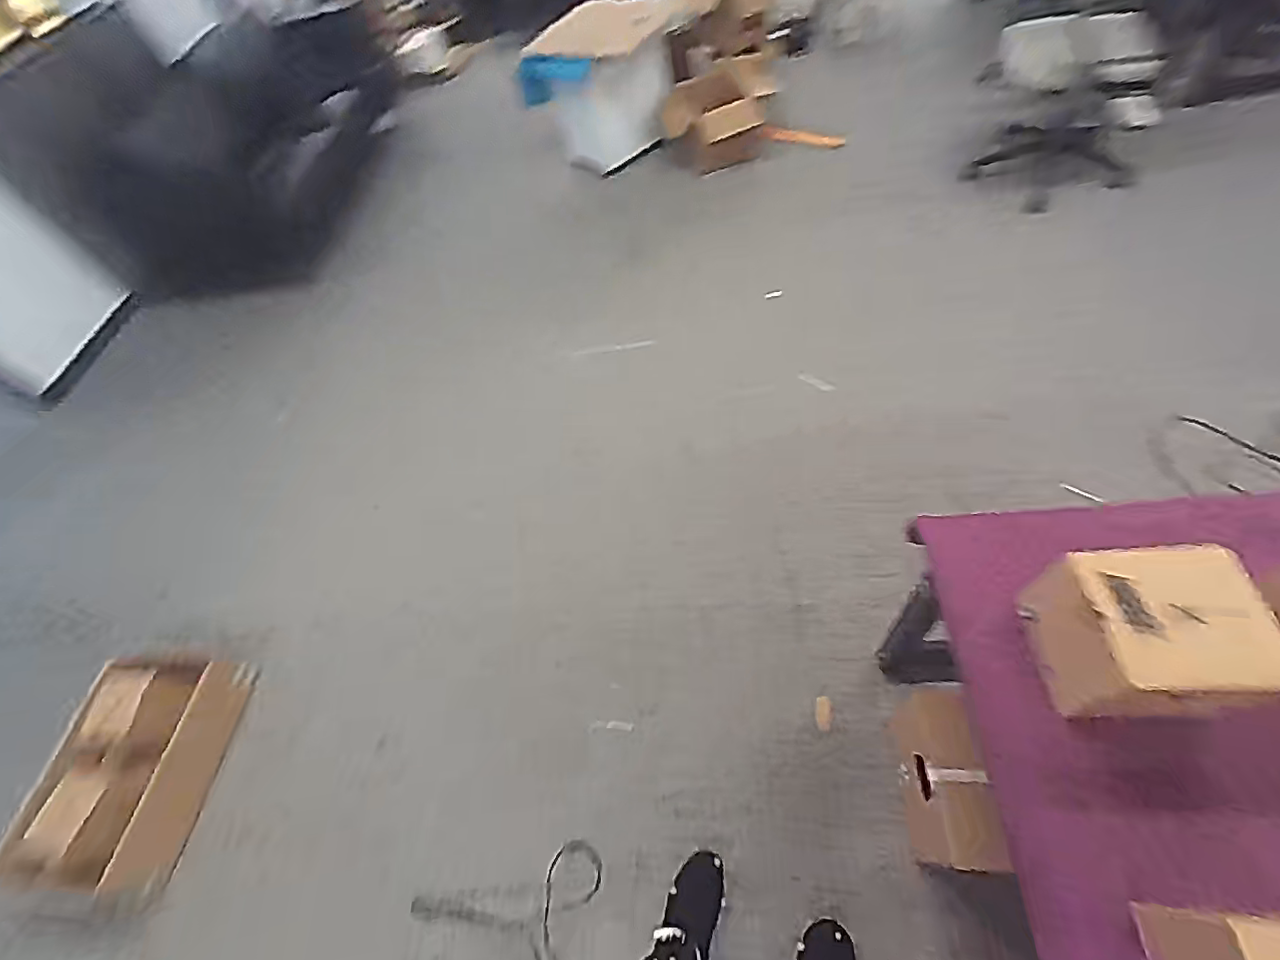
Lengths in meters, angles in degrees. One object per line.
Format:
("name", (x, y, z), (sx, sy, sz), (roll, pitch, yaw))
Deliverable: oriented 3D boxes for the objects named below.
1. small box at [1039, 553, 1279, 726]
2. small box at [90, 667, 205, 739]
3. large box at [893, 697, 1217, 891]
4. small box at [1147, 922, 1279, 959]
("small box", (0.636, 0.202, 0.670), (0.179, 0.176, 0.168), (-3, 57, 9))
("small box", (-1.509, 0.694, 1.674), (0.168, 0.176, 0.179), (-6, 56, 8))
("large box", (0.805, 0.656, 1.140), (0.408, 0.320, 0.320), (-3, 57, 10))
("small box", (0.618, 0.506, 0.472), (0.179, 0.176, 0.168), (-2, 56, 11))
